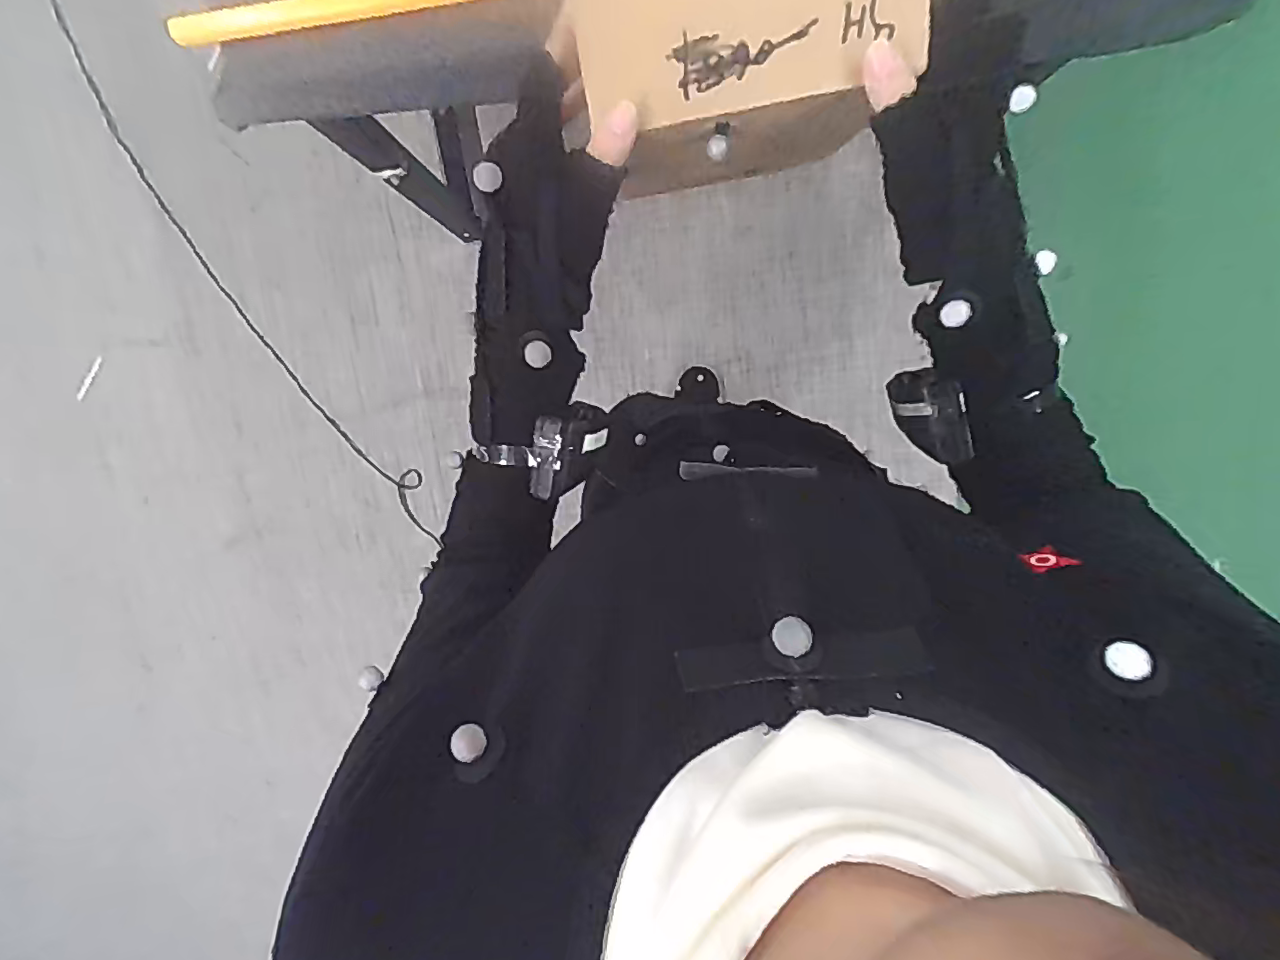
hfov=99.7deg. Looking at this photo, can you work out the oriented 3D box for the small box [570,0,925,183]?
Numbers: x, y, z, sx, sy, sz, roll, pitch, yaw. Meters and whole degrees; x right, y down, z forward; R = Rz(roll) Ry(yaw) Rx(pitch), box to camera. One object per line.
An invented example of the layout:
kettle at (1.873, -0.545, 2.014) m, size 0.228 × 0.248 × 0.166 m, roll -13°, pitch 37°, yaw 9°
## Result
small box at (0.043, -0.300, 0.314) m, size 0.168 × 0.176 × 0.179 m, roll -9°, pitch 107°, yaw 5°
